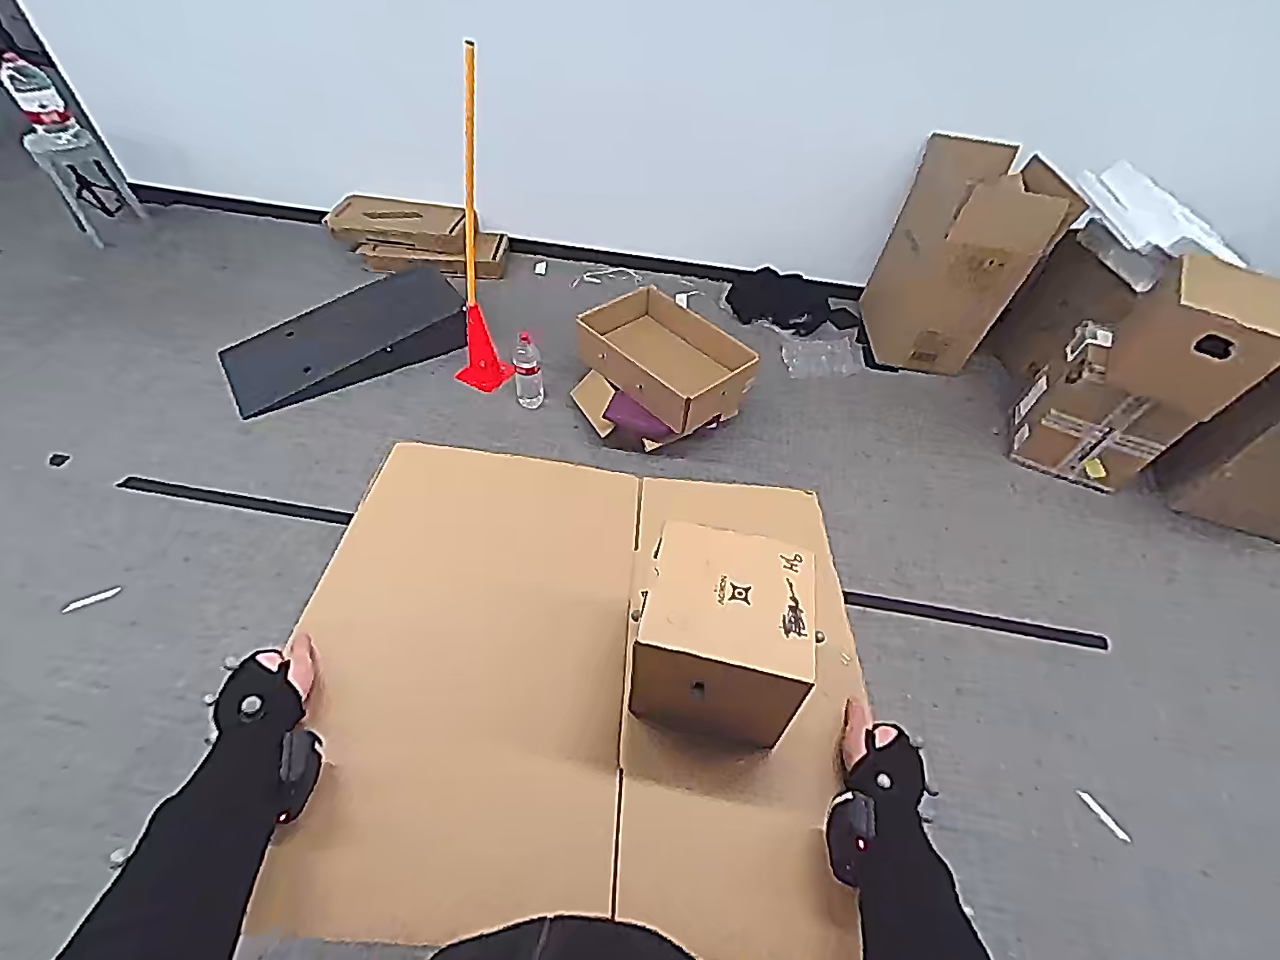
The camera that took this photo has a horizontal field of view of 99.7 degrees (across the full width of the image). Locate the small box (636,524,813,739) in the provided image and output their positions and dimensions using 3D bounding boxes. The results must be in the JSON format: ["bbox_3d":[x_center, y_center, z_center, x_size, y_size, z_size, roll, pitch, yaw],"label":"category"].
[{"bbox_3d":[0.095,0.179,0.634,0.179,0.176,0.168,10,46,7],"label":"small box"}]
